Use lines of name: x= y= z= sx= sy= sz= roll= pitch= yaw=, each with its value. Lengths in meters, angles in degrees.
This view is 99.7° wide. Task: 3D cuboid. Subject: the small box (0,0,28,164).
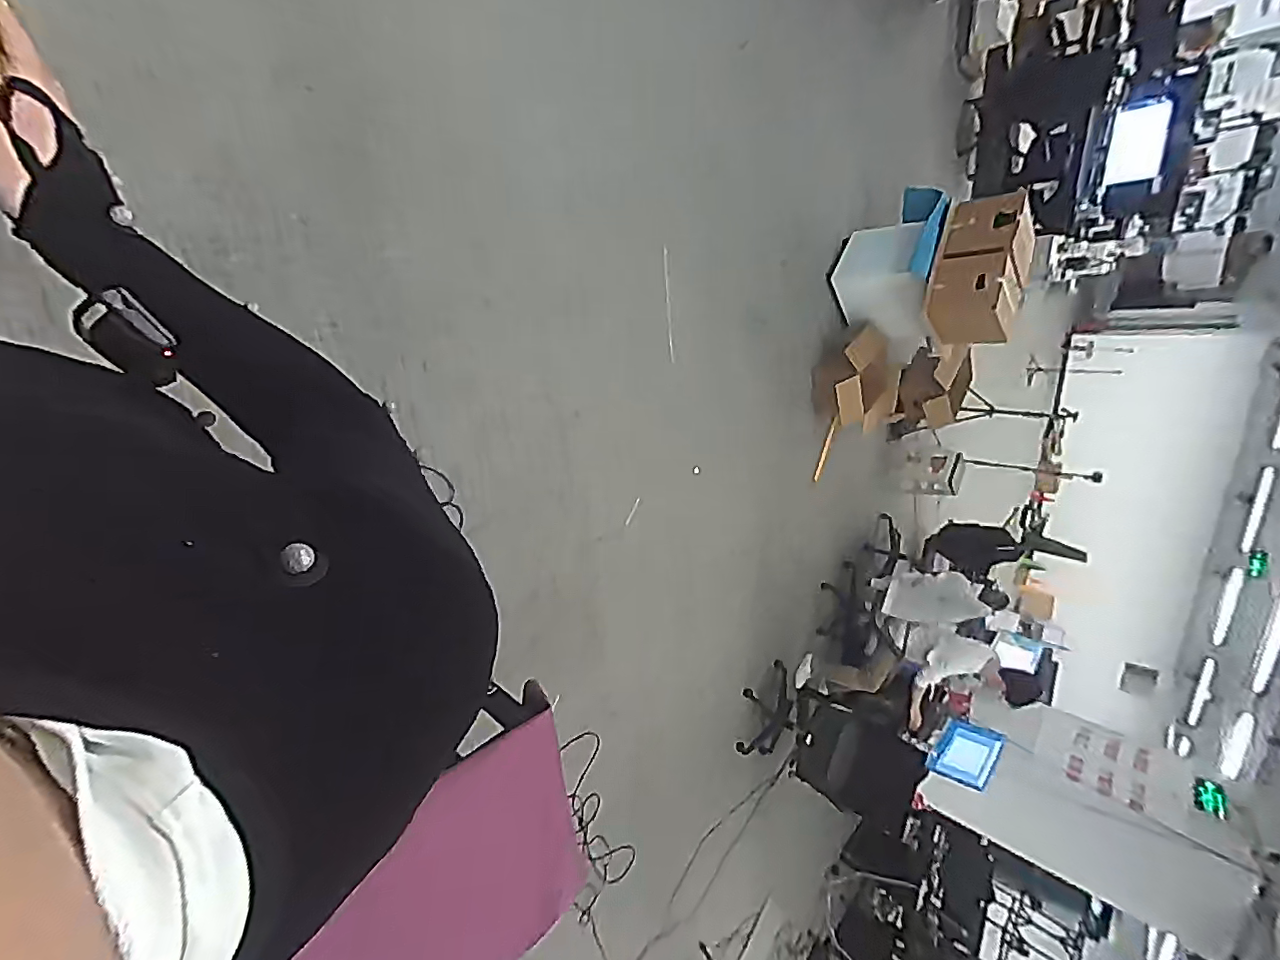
small box: x=-0.583 y=-0.369 z=0.393 sx=0.168 sy=0.176 sz=0.179 roll=-9 pitch=100 yaw=-45
